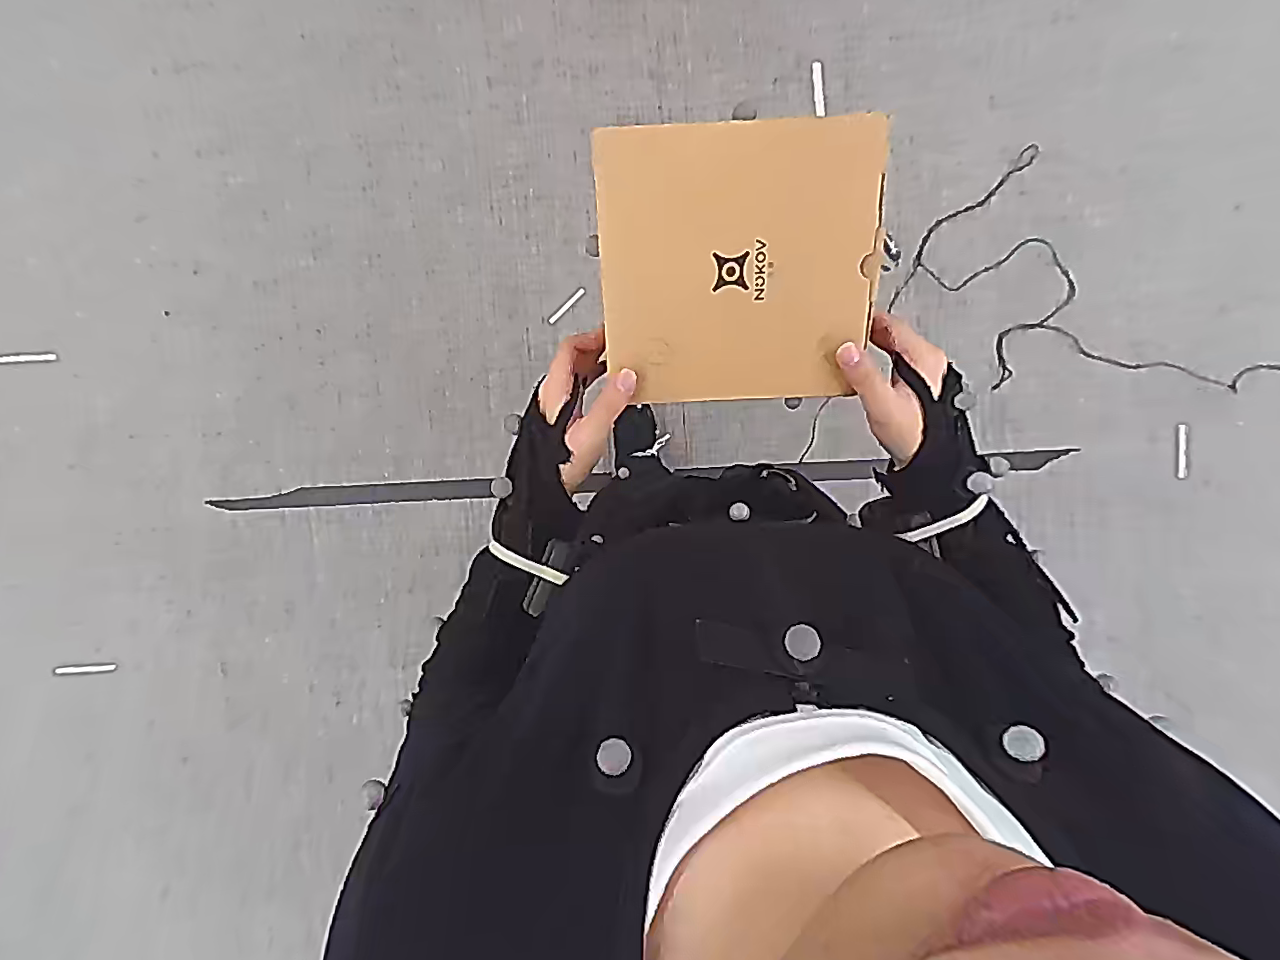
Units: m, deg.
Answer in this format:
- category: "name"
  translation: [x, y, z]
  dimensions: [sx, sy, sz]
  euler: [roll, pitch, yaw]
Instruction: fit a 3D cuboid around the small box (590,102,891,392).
- category: "small box"
  translation: [0.061, -0.165, 0.413]
  dimensions: [0.179, 0.176, 0.168]
  euler: [-3, 111, 0]
